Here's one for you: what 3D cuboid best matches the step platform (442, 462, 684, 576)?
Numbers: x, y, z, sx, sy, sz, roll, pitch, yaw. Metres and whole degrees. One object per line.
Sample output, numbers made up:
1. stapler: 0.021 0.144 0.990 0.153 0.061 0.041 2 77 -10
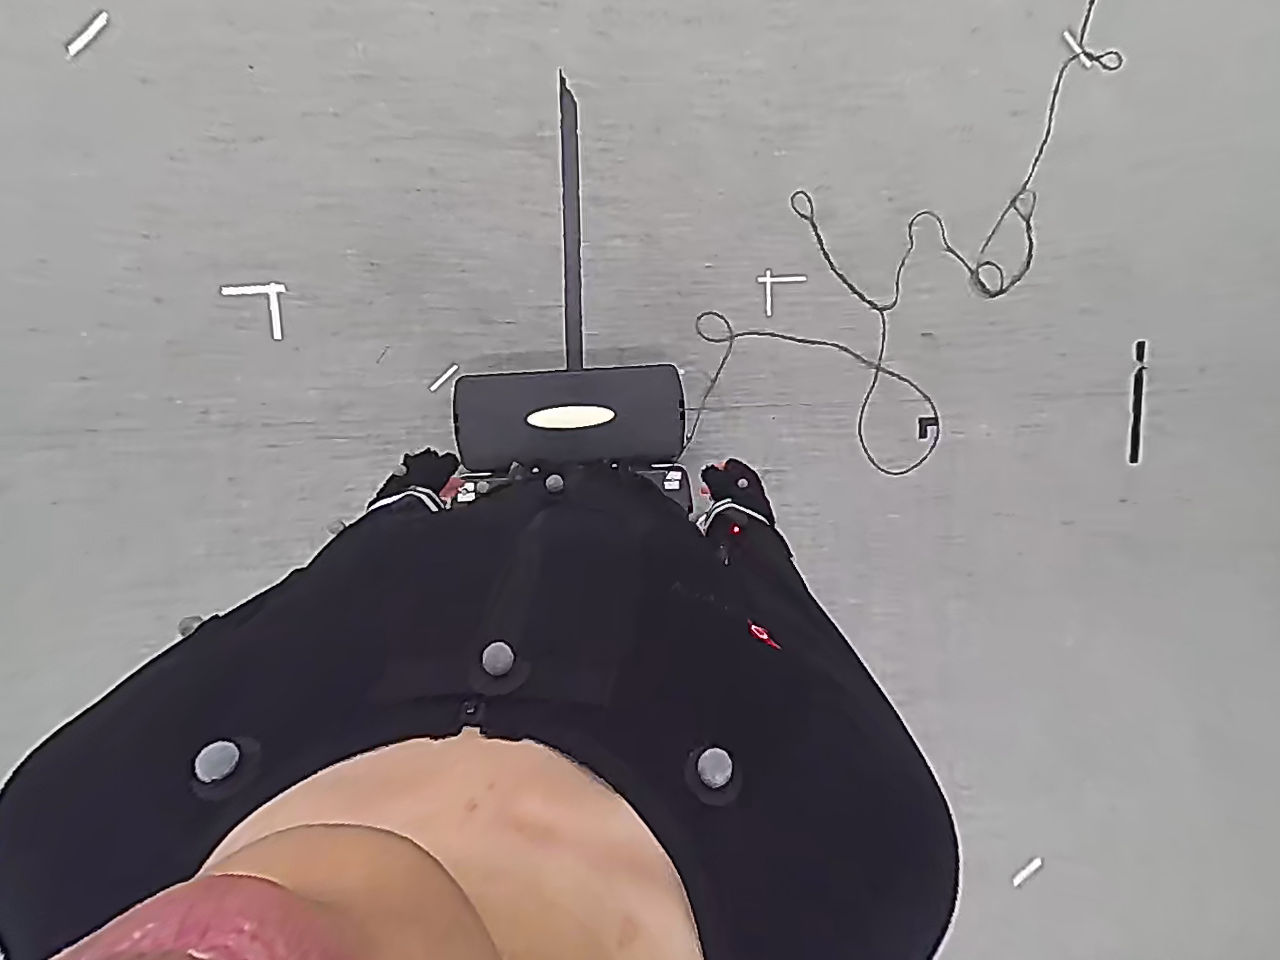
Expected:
1. step platform: -0.214 0.107 1.571 0.684 0.204 0.286 -4 93 -3
